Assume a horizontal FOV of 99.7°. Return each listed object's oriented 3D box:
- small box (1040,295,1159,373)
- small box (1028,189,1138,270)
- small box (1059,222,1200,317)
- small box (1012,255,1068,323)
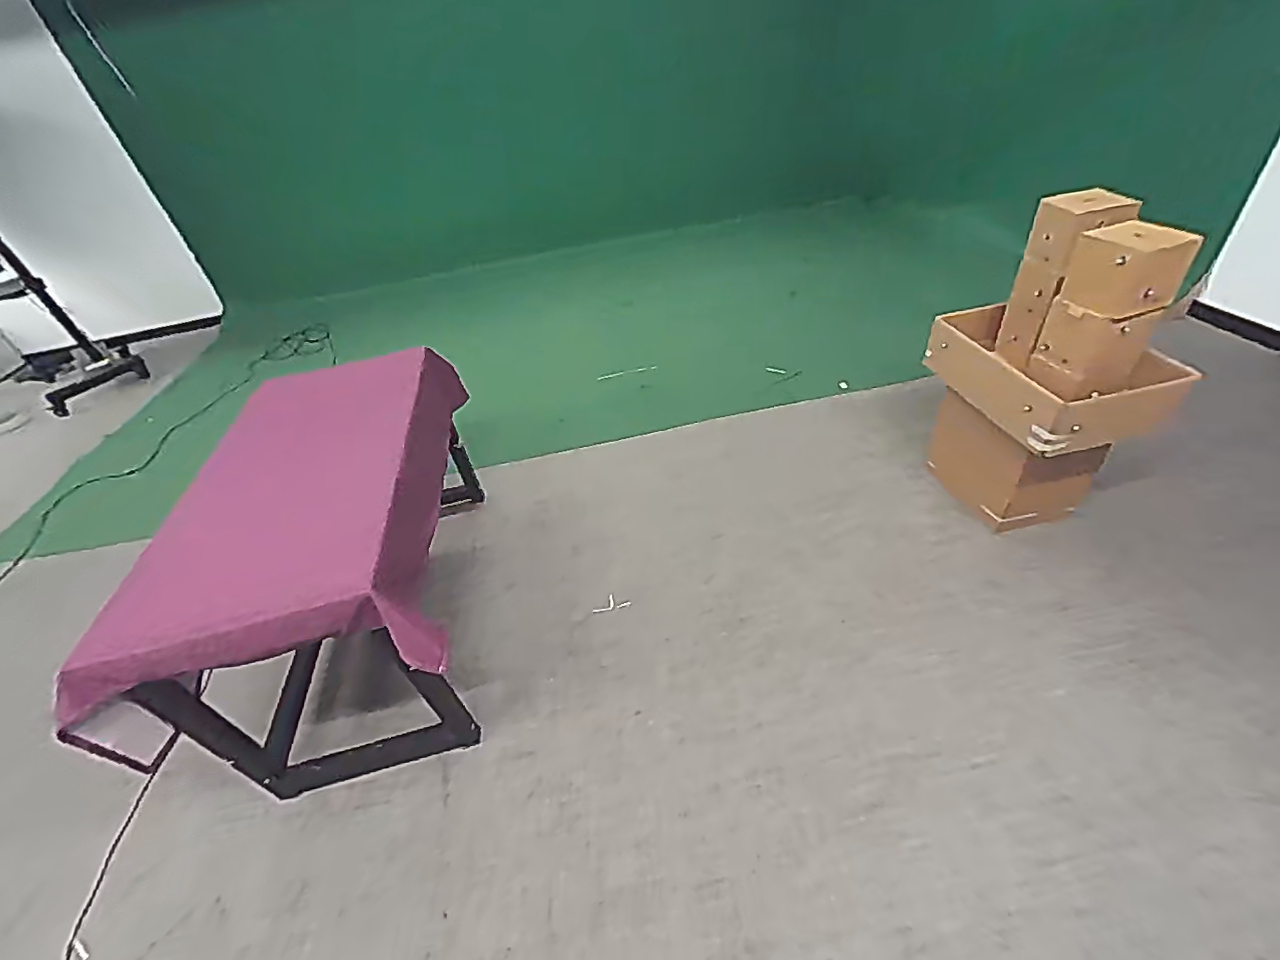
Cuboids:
[{"bbox_3d":[1.241,-0.411,1.477,0.179,0.176,0.168,-13,40,-4],"label":"small box"},{"bbox_3d":[1.295,-0.739,1.602,0.179,0.176,0.168,-9,41,1],"label":"small box"},{"bbox_3d":[1.227,-0.536,1.374,0.168,0.176,0.179,-15,41,-7],"label":"small box"},{"bbox_3d":[1.314,-0.611,1.704,0.179,0.176,0.168,-10,41,0],"label":"small box"}]
